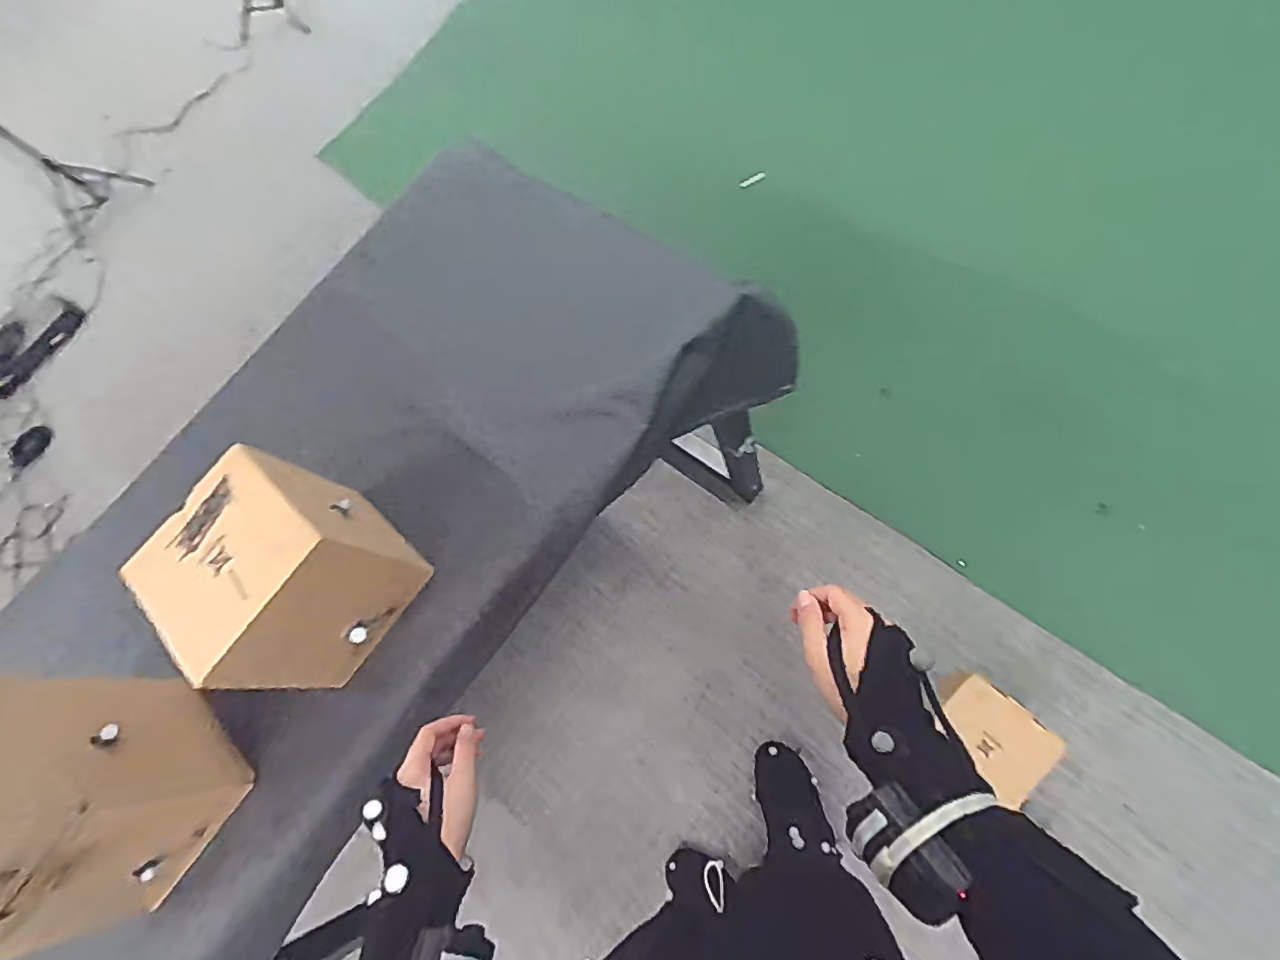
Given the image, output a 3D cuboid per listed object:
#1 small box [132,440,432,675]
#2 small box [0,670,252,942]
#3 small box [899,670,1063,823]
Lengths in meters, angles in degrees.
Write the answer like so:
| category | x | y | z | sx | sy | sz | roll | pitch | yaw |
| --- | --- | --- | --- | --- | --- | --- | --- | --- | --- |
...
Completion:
| category | x | y | z | sx | sy | sz | roll | pitch | yaw |
| --- | --- | --- | --- | --- | --- | --- | --- | --- | --- |
| small box | -0.370 | 0.092 | 0.582 | 0.179 | 0.176 | 0.168 | 35 | 83 | 24 |
| small box | -0.561 | 0.321 | 0.556 | 0.179 | 0.176 | 0.168 | 33 | 82 | 23 |
| small box | 0.596 | 0.465 | 0.975 | 0.168 | 0.176 | 0.179 | 41 | 87 | 25 |
